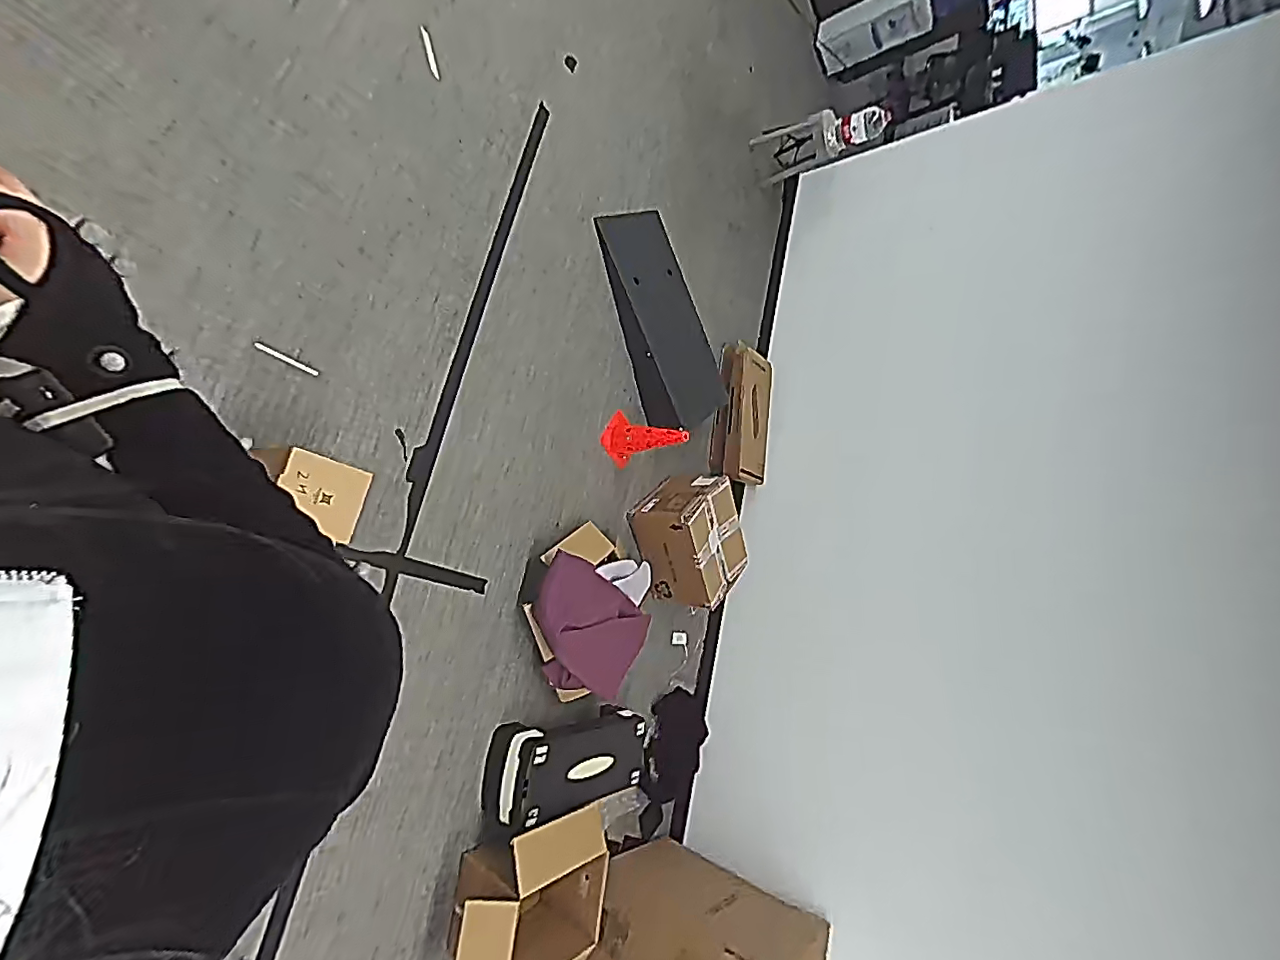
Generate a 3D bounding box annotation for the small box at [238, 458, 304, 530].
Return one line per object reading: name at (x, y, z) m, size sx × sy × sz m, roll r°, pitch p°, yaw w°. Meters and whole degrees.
small box at (-0.789, 0.054, 1.264) m, size 0.179 × 0.176 × 0.168 m, roll 28°, pitch 68°, yaw -48°

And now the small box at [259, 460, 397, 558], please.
small box at (-0.664, 0.061, 1.156) m, size 0.179 × 0.176 × 0.168 m, roll 30°, pitch 67°, yaw -49°
